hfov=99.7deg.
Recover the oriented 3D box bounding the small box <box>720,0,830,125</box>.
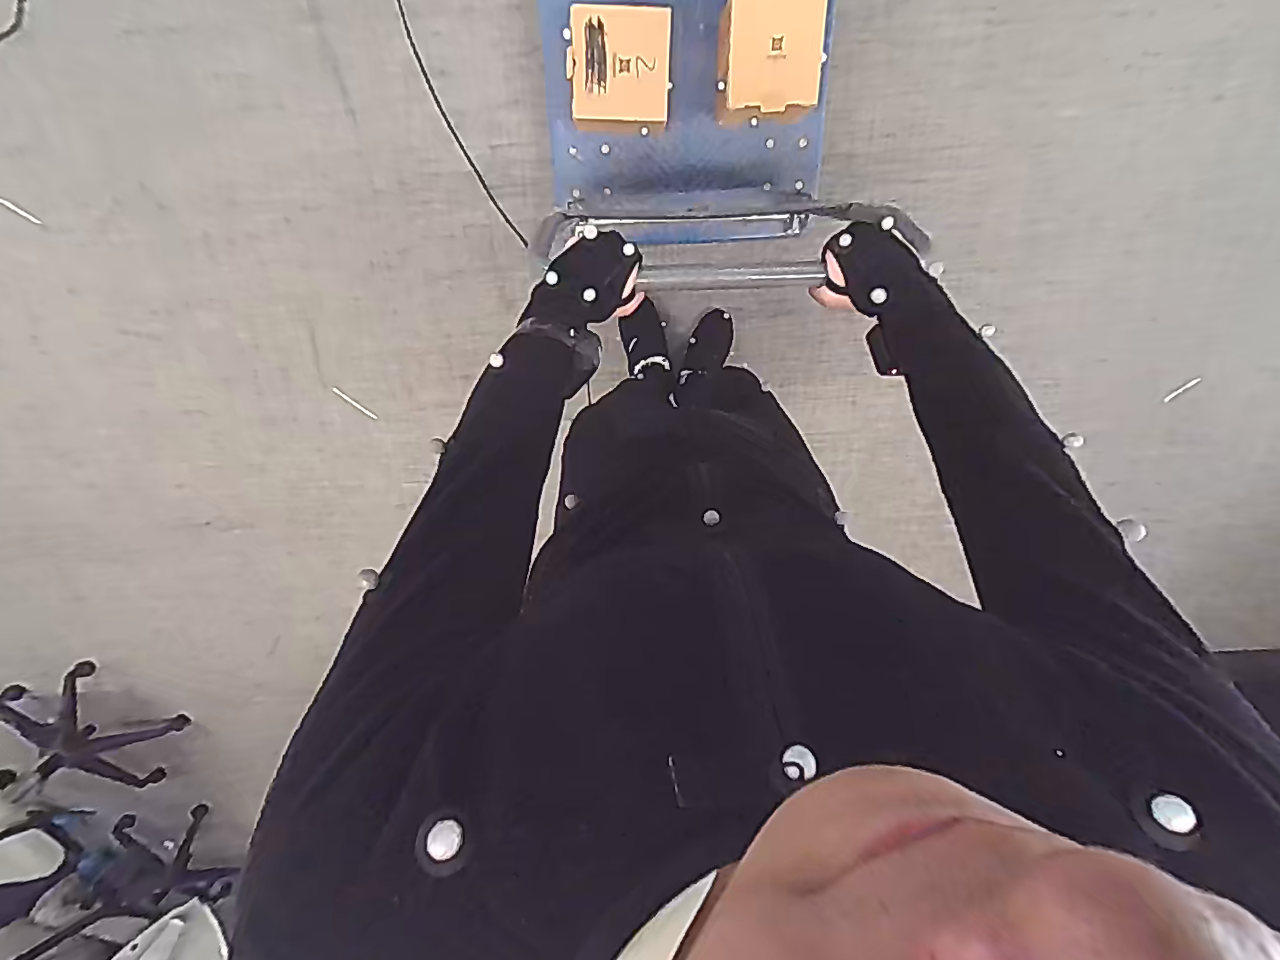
[{"bbox_3d":[0.244,-0.791,1.021,0.168,0.176,0.179,-2,116,1],"label":"small box"}]
